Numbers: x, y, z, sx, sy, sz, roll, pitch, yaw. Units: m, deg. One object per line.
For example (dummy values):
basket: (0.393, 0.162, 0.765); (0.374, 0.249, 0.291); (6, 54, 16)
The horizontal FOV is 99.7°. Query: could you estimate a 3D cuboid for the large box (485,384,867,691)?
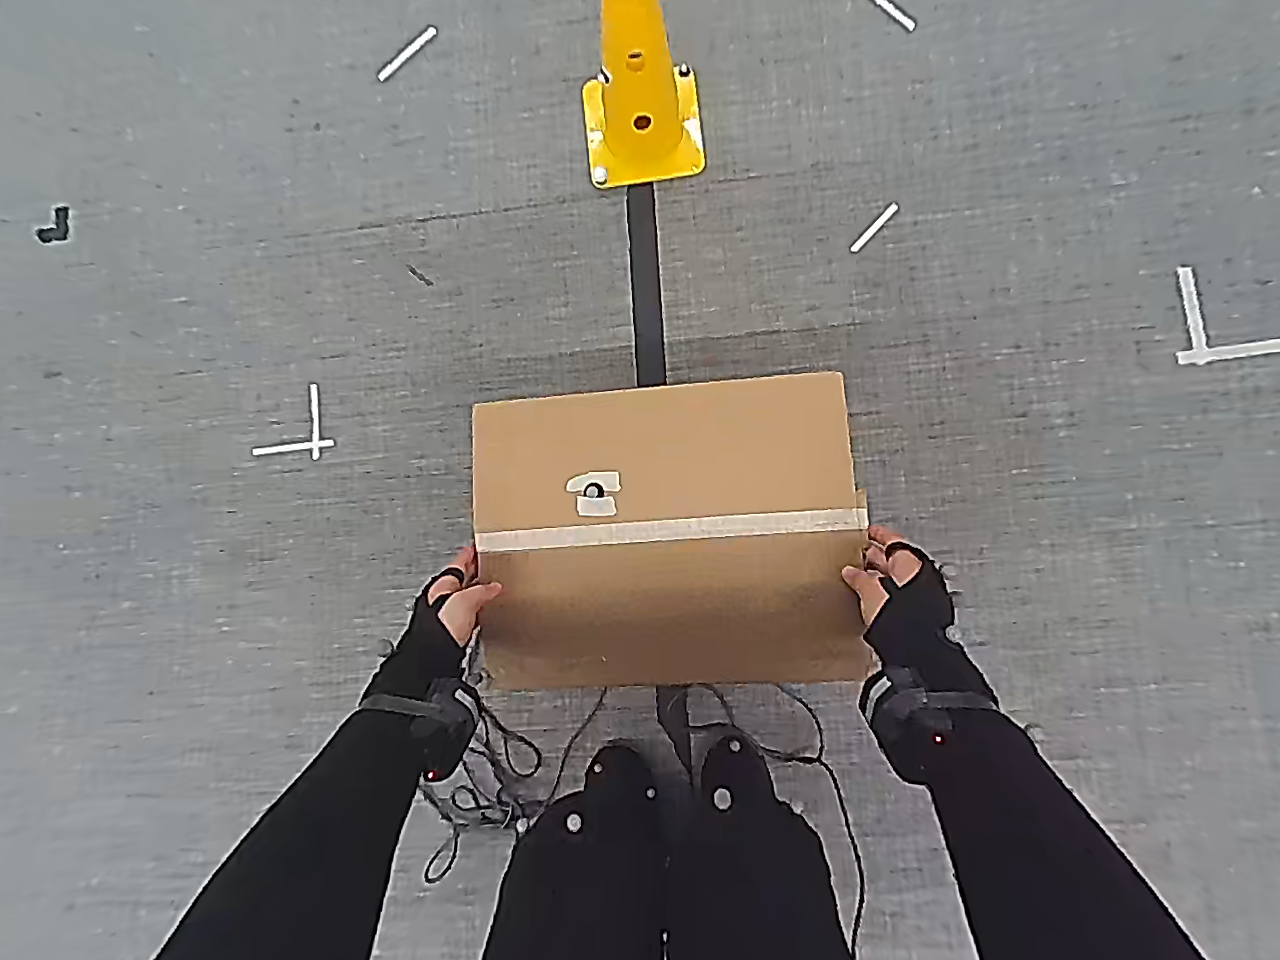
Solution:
large box: (0.046, 0.079, 0.736); (0.408, 0.320, 0.320); (-5, 83, 7)
